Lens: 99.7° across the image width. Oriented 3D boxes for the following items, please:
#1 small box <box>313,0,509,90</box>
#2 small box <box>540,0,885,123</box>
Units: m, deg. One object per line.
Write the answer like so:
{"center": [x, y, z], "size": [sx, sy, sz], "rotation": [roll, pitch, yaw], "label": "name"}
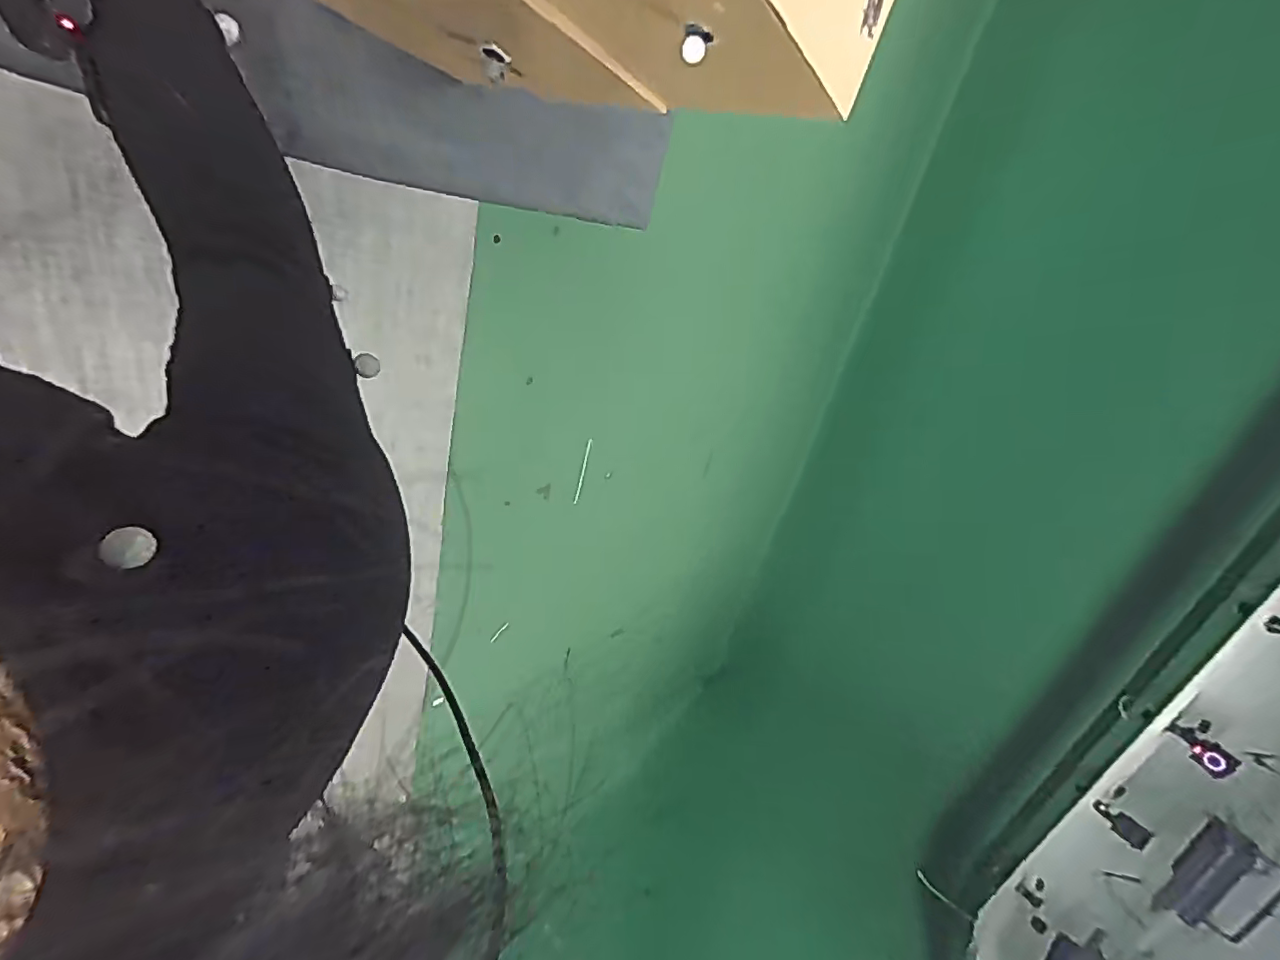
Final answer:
{"center": [-0.183, -0.501, 0.512], "size": [0.179, 0.176, 0.168], "rotation": [-8, 121, -51], "label": "small box"}
{"center": [0.053, -0.356, 0.340], "size": [0.179, 0.176, 0.168], "rotation": [-2, 117, -52], "label": "small box"}
